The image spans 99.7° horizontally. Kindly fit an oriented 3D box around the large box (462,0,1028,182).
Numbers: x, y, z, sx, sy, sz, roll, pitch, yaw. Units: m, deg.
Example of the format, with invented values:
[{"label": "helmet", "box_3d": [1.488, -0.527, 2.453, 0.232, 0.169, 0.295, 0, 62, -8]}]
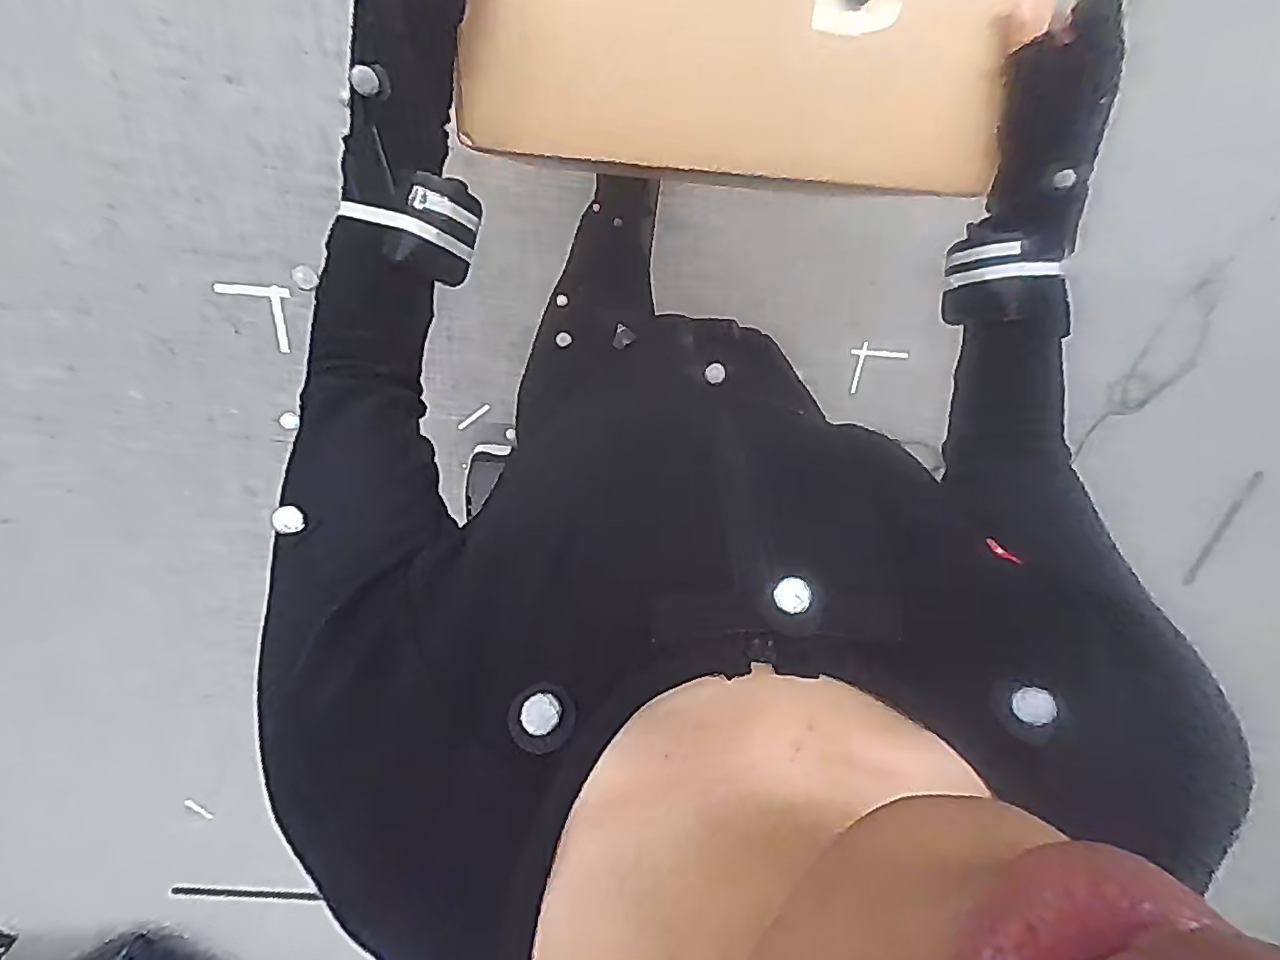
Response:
[{"label": "large box", "box_3d": [0.071, -0.454, 0.478, 0.408, 0.320, 0.320, 2, 118, -5]}]
